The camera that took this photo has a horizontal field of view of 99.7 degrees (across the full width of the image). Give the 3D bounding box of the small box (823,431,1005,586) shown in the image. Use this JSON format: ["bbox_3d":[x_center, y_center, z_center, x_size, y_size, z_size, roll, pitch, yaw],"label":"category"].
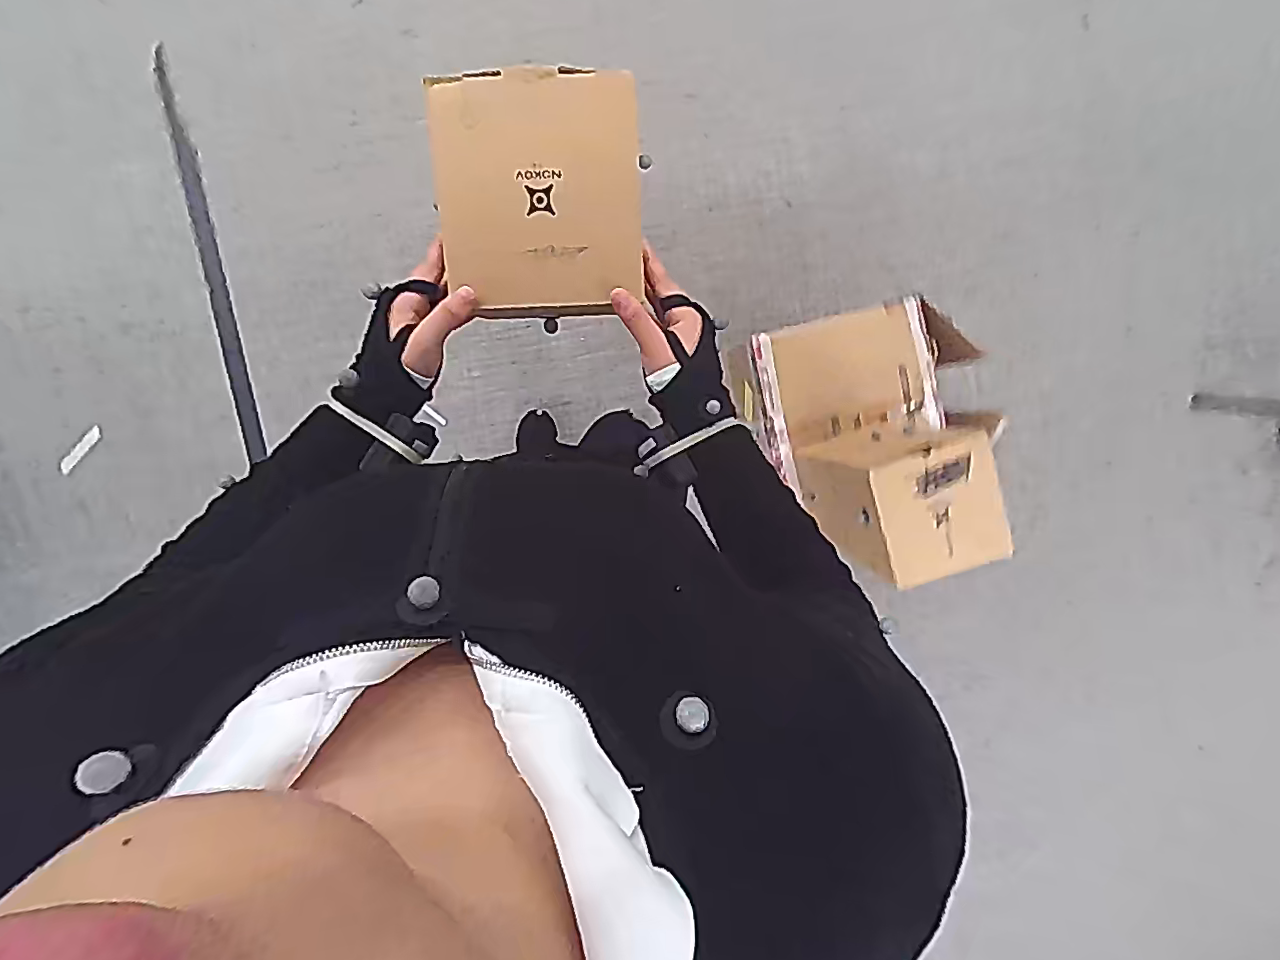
[{"bbox_3d":[0.393,0.031,0.806,0.168,0.176,0.179,-17,98,1],"label":"small box"}]

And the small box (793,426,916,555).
[{"bbox_3d":[0.393,0.011,0.970,0.168,0.176,0.179,-17,98,1],"label":"small box"}]

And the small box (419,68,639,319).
[{"bbox_3d":[-0.092,-0.254,0.519,0.168,0.176,0.179,-4,104,-2],"label":"small box"}]
